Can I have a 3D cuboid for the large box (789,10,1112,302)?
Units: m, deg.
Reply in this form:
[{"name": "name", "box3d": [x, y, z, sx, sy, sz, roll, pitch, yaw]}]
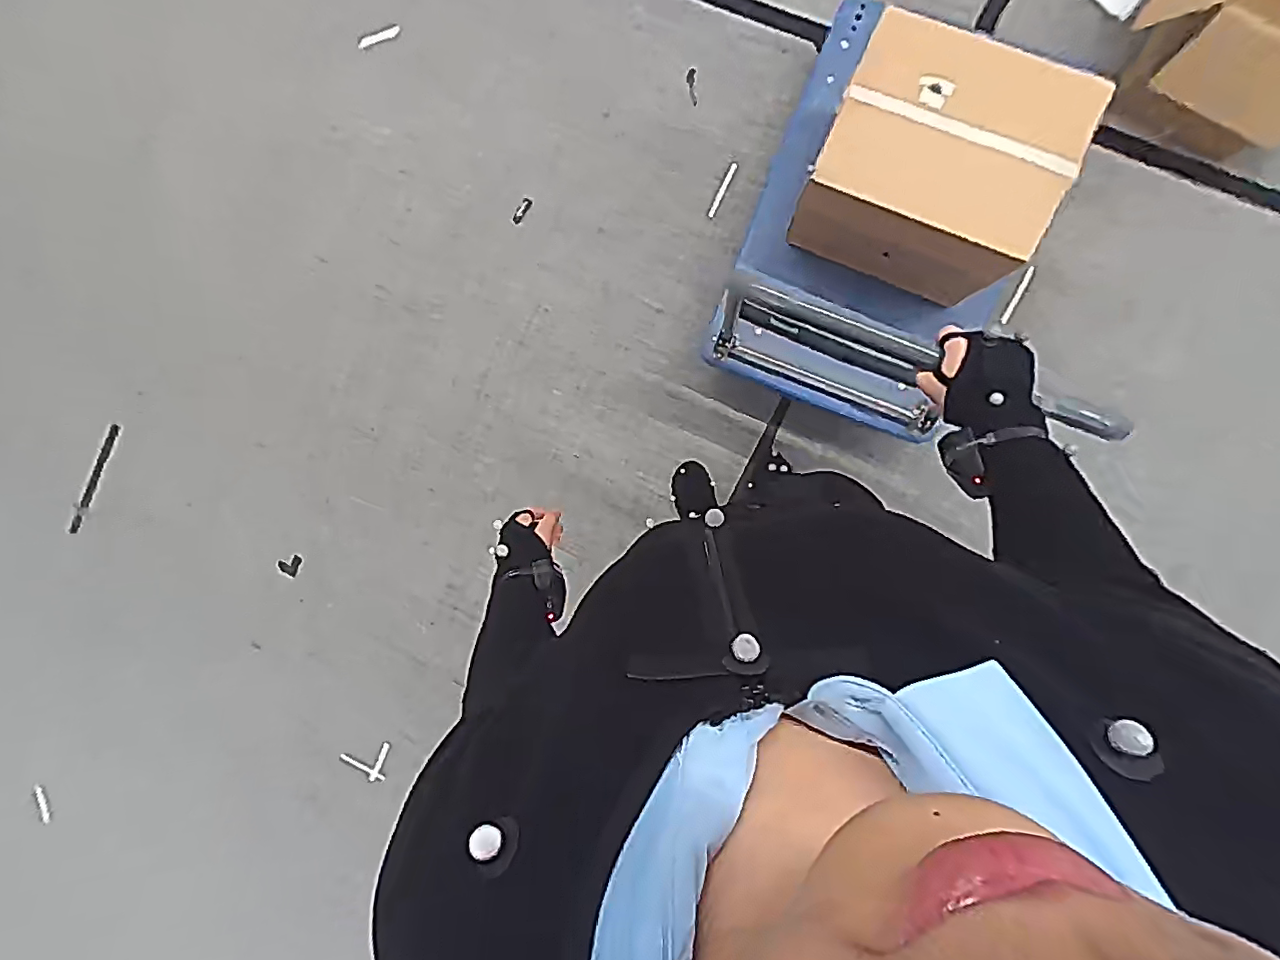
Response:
[{"name": "large box", "box3d": [0.558, -0.598, 1.066, 0.408, 0.320, 0.320, 24, 95, 6]}]
